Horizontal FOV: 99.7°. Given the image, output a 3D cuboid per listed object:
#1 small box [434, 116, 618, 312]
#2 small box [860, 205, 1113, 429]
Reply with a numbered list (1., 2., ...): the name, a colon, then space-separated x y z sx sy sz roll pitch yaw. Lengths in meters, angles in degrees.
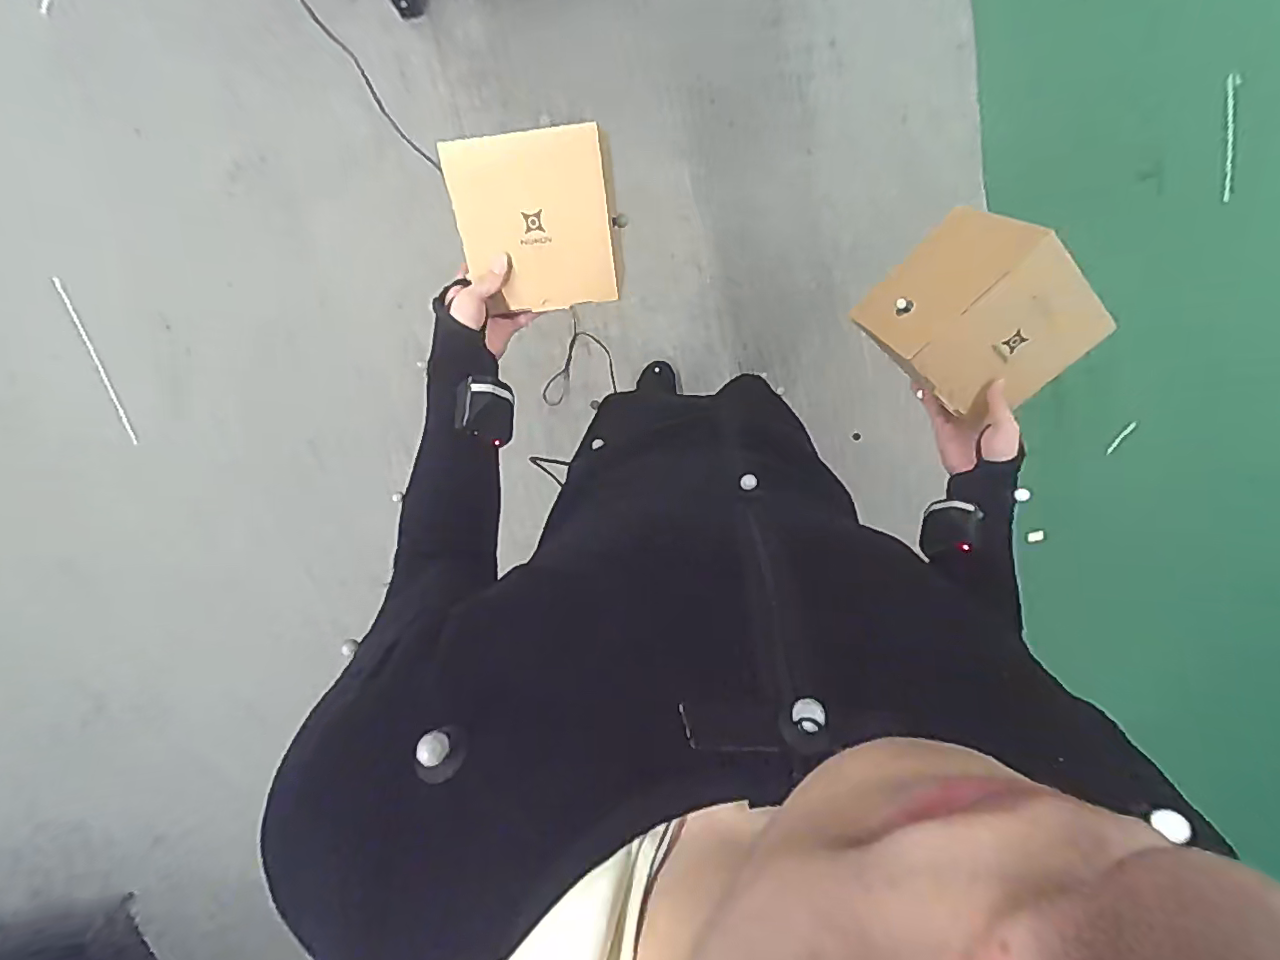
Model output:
1. small box: -0.119 -0.316 0.647 0.168 0.176 0.179 -6 121 4
2. small box: 0.398 -0.201 0.660 0.168 0.176 0.179 32 116 -24
